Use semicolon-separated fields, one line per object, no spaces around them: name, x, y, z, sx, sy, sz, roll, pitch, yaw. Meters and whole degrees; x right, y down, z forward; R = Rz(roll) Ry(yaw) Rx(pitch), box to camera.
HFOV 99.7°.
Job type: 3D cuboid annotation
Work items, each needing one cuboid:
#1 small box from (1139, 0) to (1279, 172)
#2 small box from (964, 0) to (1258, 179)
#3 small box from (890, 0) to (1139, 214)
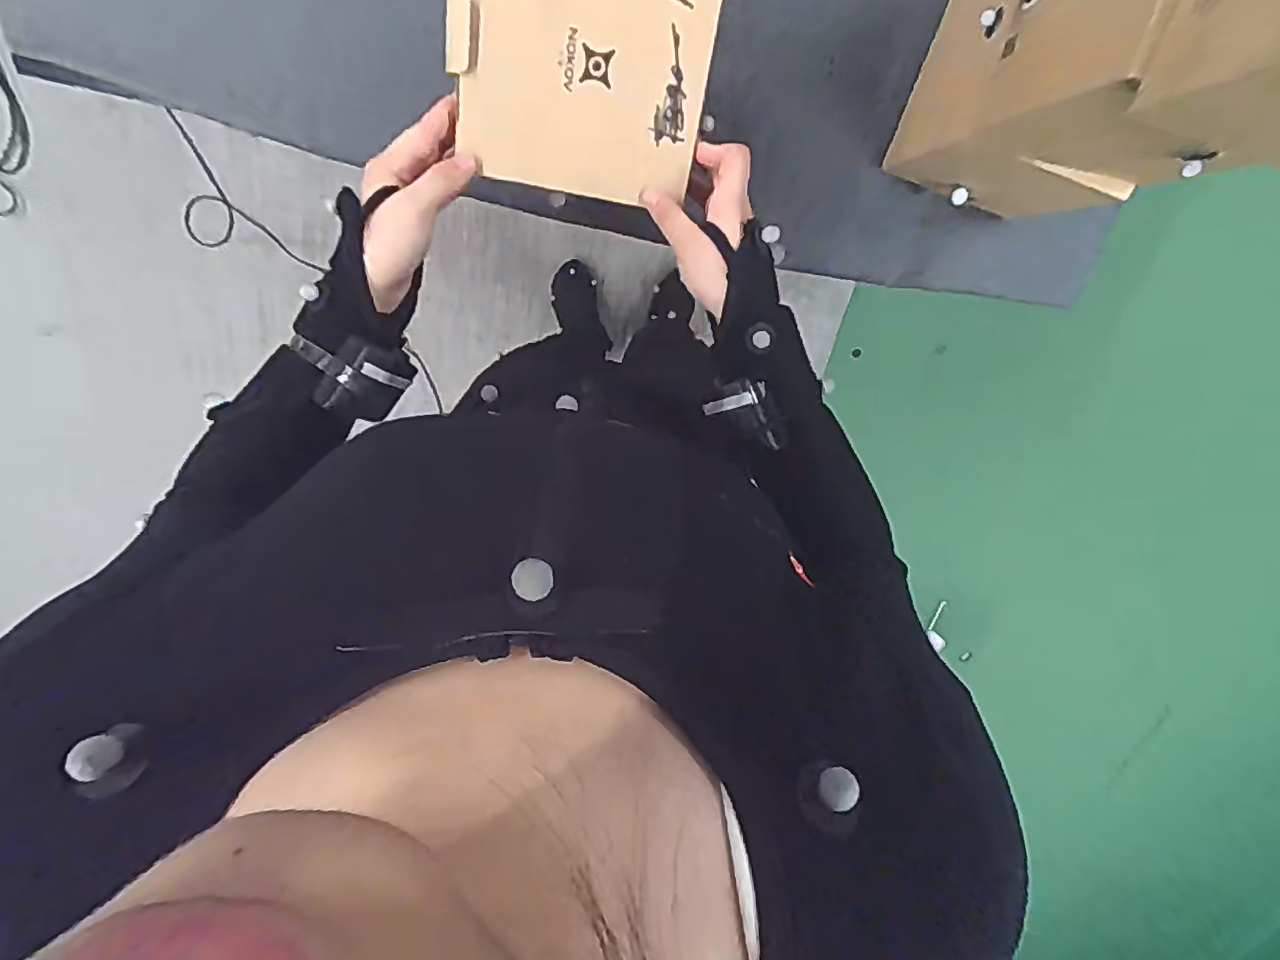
small box;0.381;-0.233;0.215;0.179;0.176;0.168;13;109;-7
small box;0.367;-0.315;0.359;0.179;0.176;0.168;9;110;-4
small box;0.373;-0.373;0.511;0.168;0.176;0.179;16;111;-8
